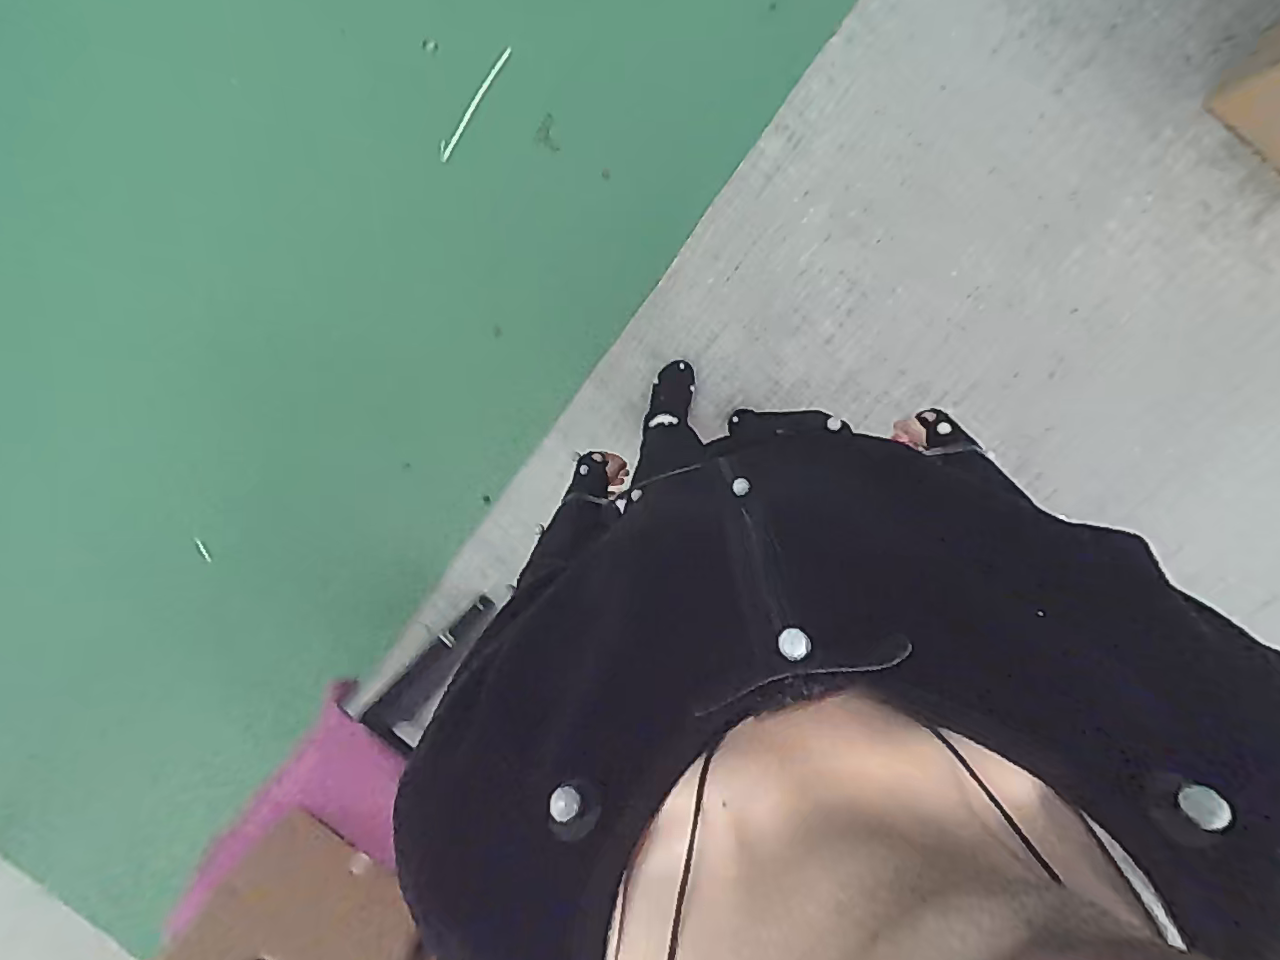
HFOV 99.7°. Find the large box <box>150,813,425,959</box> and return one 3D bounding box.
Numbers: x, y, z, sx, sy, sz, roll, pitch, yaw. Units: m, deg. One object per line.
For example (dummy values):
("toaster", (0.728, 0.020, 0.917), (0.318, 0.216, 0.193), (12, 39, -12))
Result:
("large box", (-0.634, 0.861, 0.867), (0.320, 0.320, 0.408), (38, 102, -2))
